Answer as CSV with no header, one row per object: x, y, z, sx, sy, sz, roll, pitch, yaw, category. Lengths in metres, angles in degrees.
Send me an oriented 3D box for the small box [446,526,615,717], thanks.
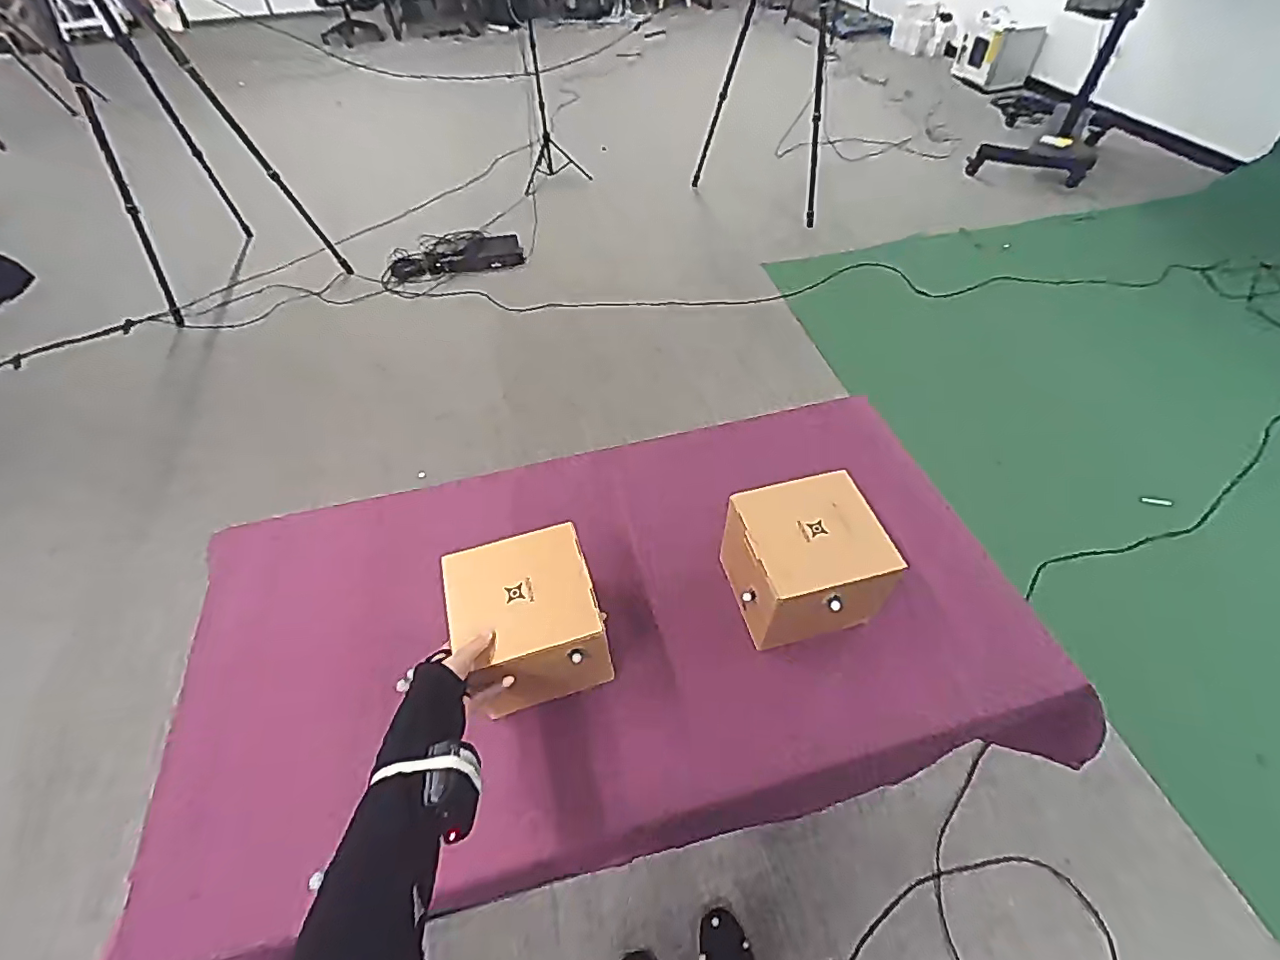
-0.142,0.194,0.729,0.179,0.176,0.168,-16,52,-11,small box

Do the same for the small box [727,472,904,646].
0.231,0.117,0.771,0.179,0.176,0.168,-12,52,-8,small box
